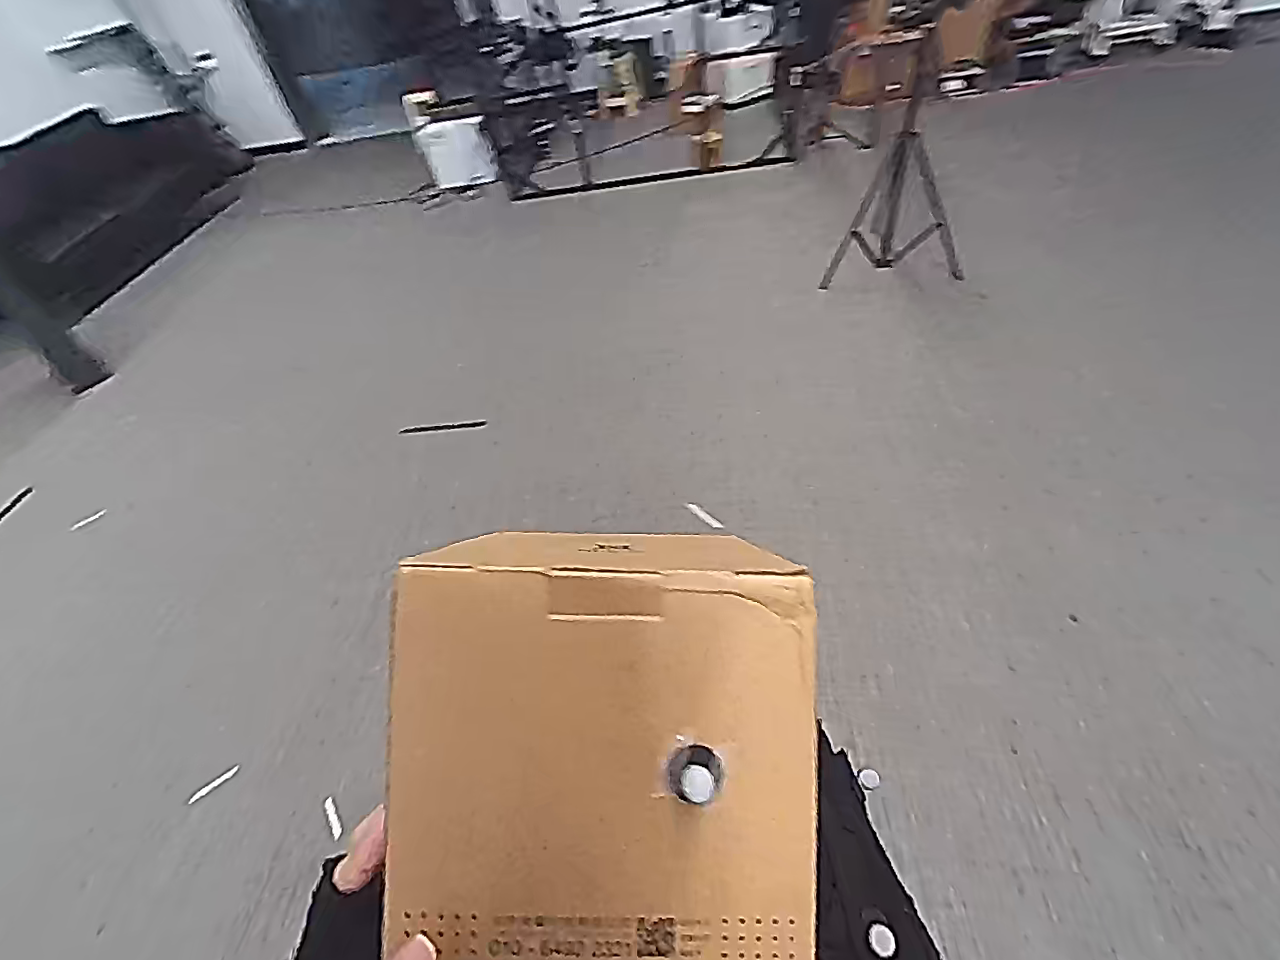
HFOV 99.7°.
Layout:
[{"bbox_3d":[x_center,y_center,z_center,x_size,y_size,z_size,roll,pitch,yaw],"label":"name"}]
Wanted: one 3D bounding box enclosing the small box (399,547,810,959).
[{"bbox_3d":[-0.014,0.129,0.294,0.168,0.179,0.176,1,88,-2],"label":"small box"}]
